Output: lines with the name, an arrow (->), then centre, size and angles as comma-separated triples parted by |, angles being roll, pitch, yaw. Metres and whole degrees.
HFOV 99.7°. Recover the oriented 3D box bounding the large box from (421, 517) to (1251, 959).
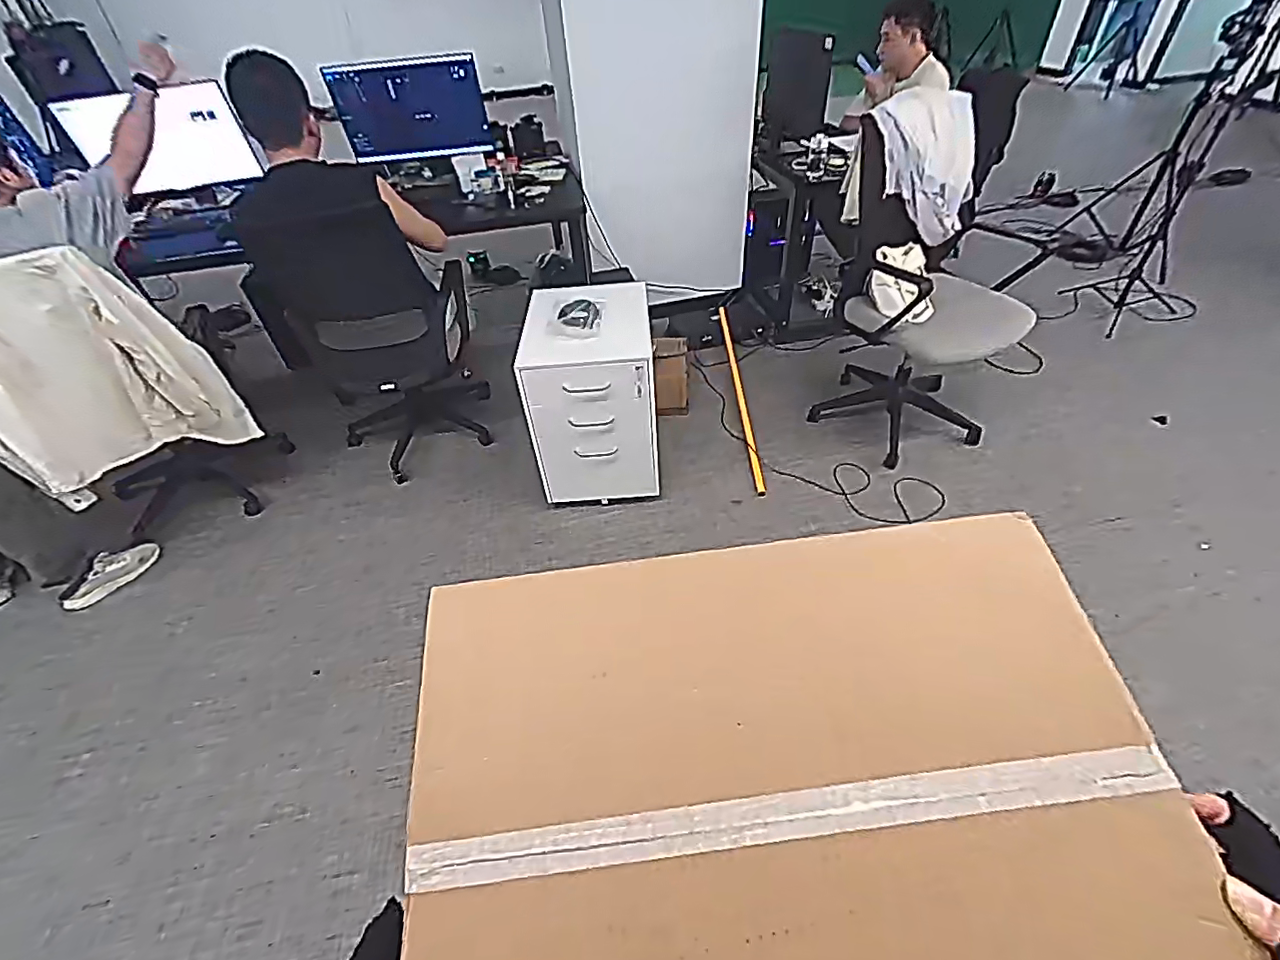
large box -> 0.088, 0.259, 0.423 | 0.408, 0.320, 0.320 | -8, 60, 0
